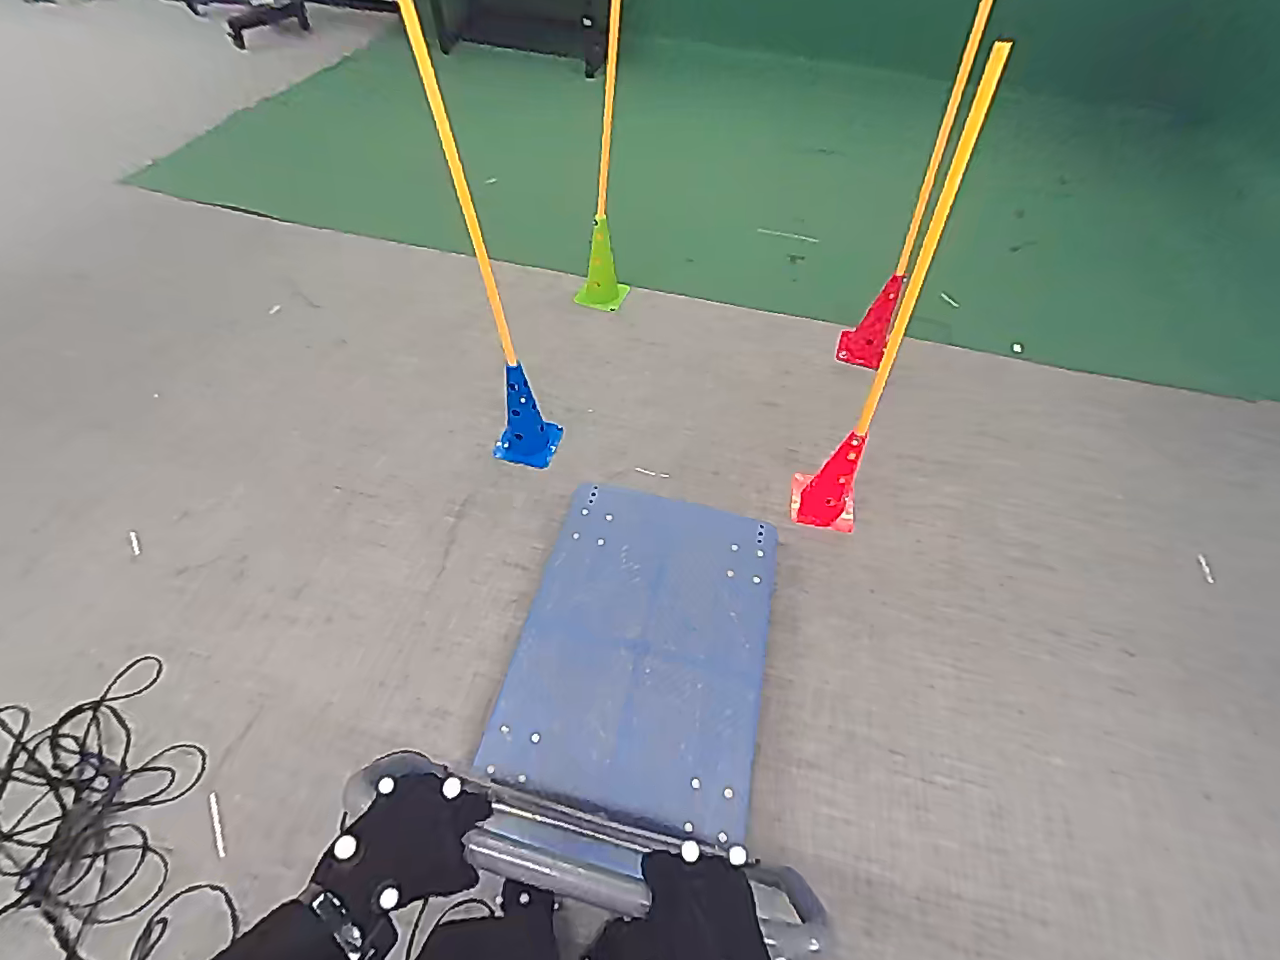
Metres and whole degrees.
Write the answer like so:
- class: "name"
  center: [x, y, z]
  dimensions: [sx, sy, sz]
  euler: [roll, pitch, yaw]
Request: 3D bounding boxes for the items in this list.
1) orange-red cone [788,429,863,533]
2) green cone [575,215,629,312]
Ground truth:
- class: "orange-red cone"
  center: [0.597, -0.024, 1.646]
  dimensions: [0.199, 0.360, 0.198]
  euler: [12, 54, 8]
- class: "green cone"
  center: [-0.160, -0.919, 2.252]
  dimensions: [0.202, 0.368, 0.200]
  euler: [16, 54, 10]
